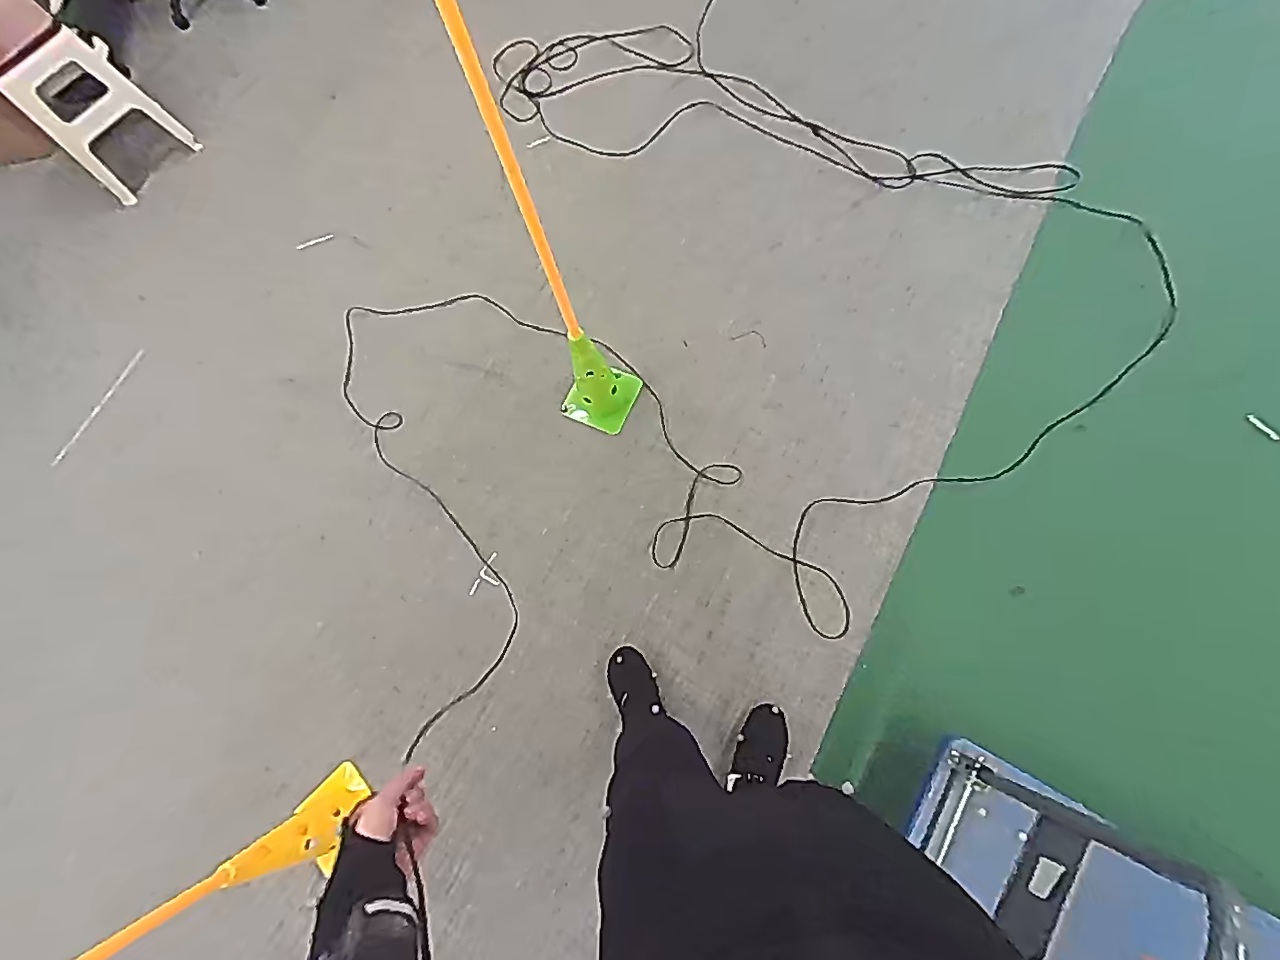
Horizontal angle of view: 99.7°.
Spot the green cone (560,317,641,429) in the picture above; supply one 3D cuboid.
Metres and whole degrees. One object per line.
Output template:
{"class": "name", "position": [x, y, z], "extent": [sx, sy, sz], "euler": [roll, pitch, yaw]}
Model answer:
{"class": "green cone", "position": [-0.137, -0.317, 1.468], "extent": [0.200, 0.368, 0.202], "euler": [22, 76, 12]}
